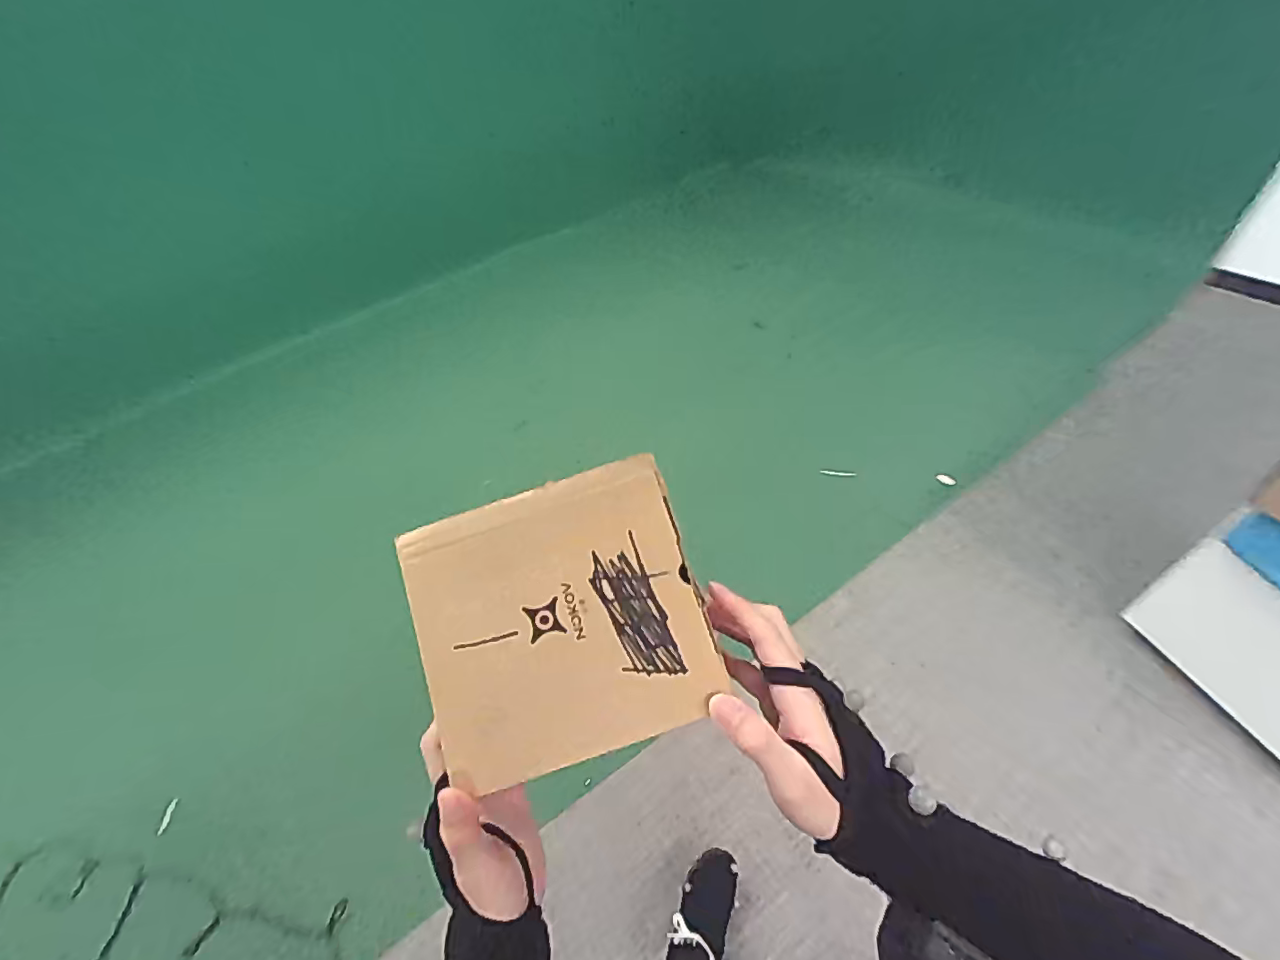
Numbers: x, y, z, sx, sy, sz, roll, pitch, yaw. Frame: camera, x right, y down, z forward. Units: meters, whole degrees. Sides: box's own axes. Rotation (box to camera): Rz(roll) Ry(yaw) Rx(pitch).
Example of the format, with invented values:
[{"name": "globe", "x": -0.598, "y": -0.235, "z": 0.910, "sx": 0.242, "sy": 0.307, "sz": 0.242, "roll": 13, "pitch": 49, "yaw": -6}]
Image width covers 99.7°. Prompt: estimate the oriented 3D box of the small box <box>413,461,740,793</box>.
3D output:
[{"name": "small box", "x": -0.040, "y": 0.103, "z": 0.415, "sx": 0.179, "sy": 0.176, "sz": 0.168, "roll": -18, "pitch": 76, "yaw": 0}]
